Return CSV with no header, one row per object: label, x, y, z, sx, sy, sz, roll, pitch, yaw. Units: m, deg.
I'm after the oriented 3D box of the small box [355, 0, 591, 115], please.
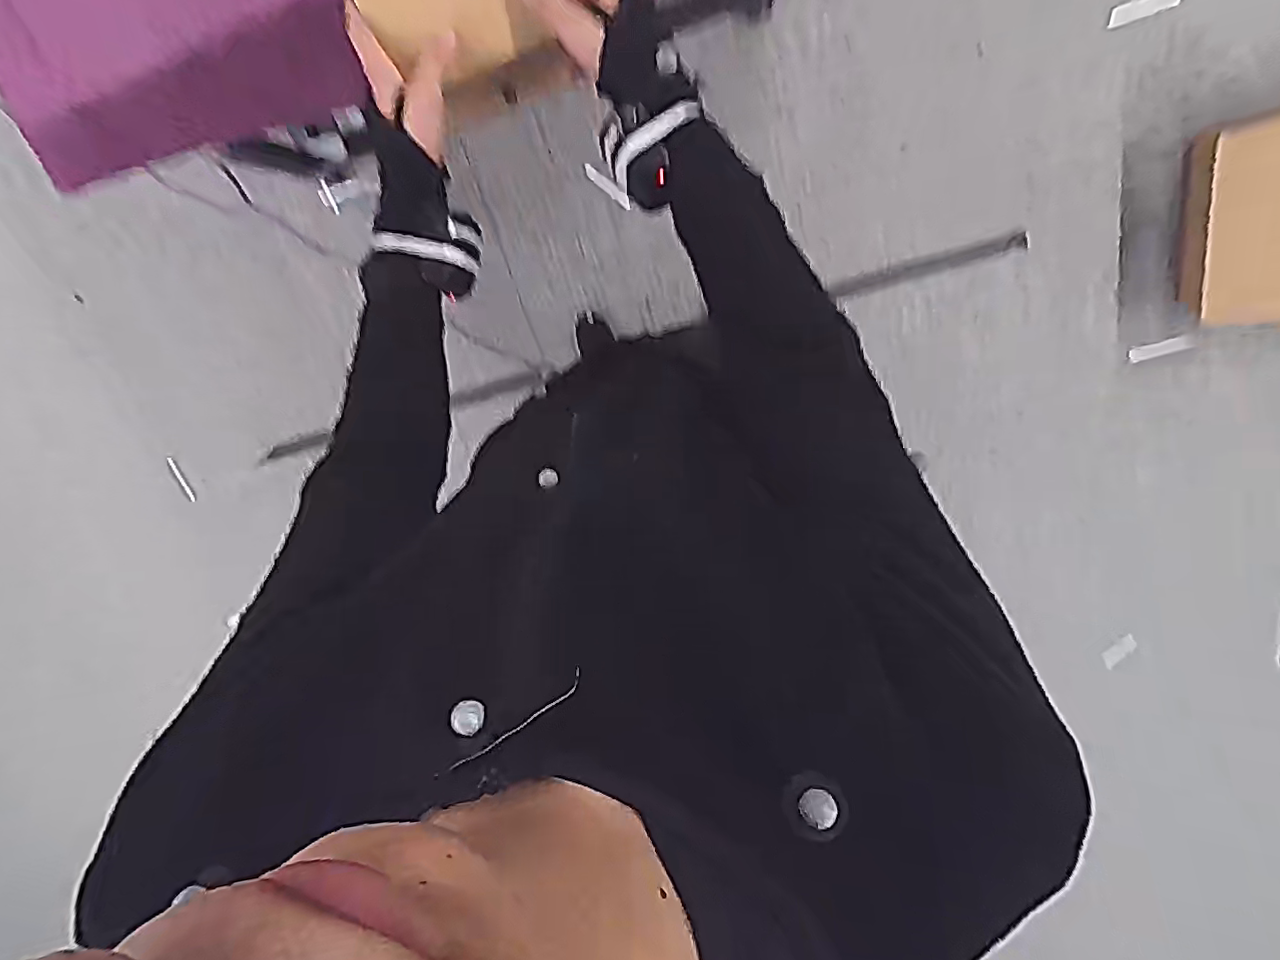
small box,-0.153,-0.453,0.480,0.168,0.176,0.179,-18,114,9
